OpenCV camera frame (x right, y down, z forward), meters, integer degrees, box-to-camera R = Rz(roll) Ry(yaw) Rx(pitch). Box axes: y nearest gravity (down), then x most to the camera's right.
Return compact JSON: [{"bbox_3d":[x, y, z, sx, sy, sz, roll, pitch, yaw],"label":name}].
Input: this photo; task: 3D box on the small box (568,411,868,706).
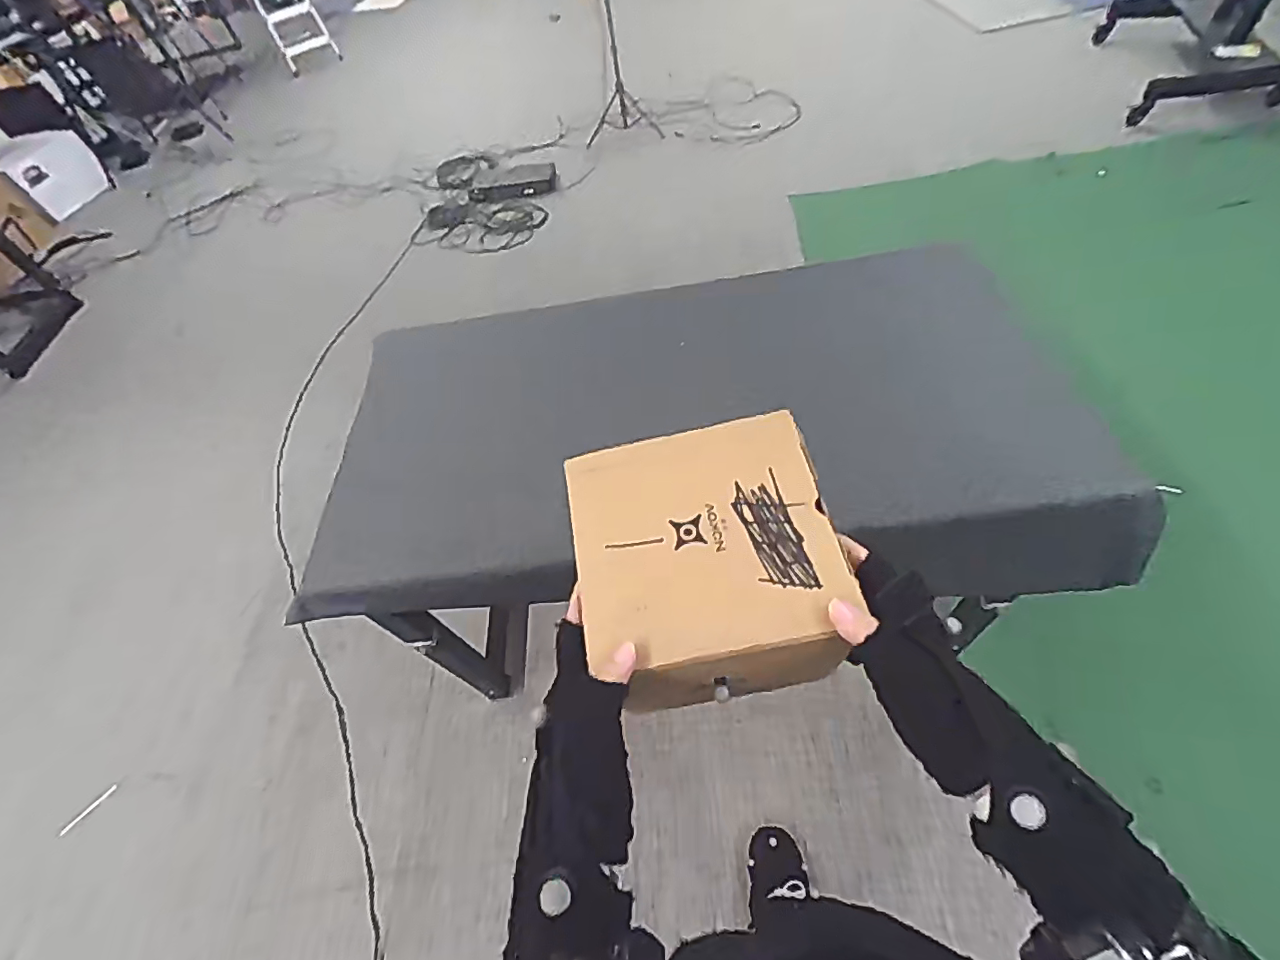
[{"bbox_3d":[0.052,0.073,0.437,0.179,0.176,0.168,-12,58,2],"label":"small box"}]
